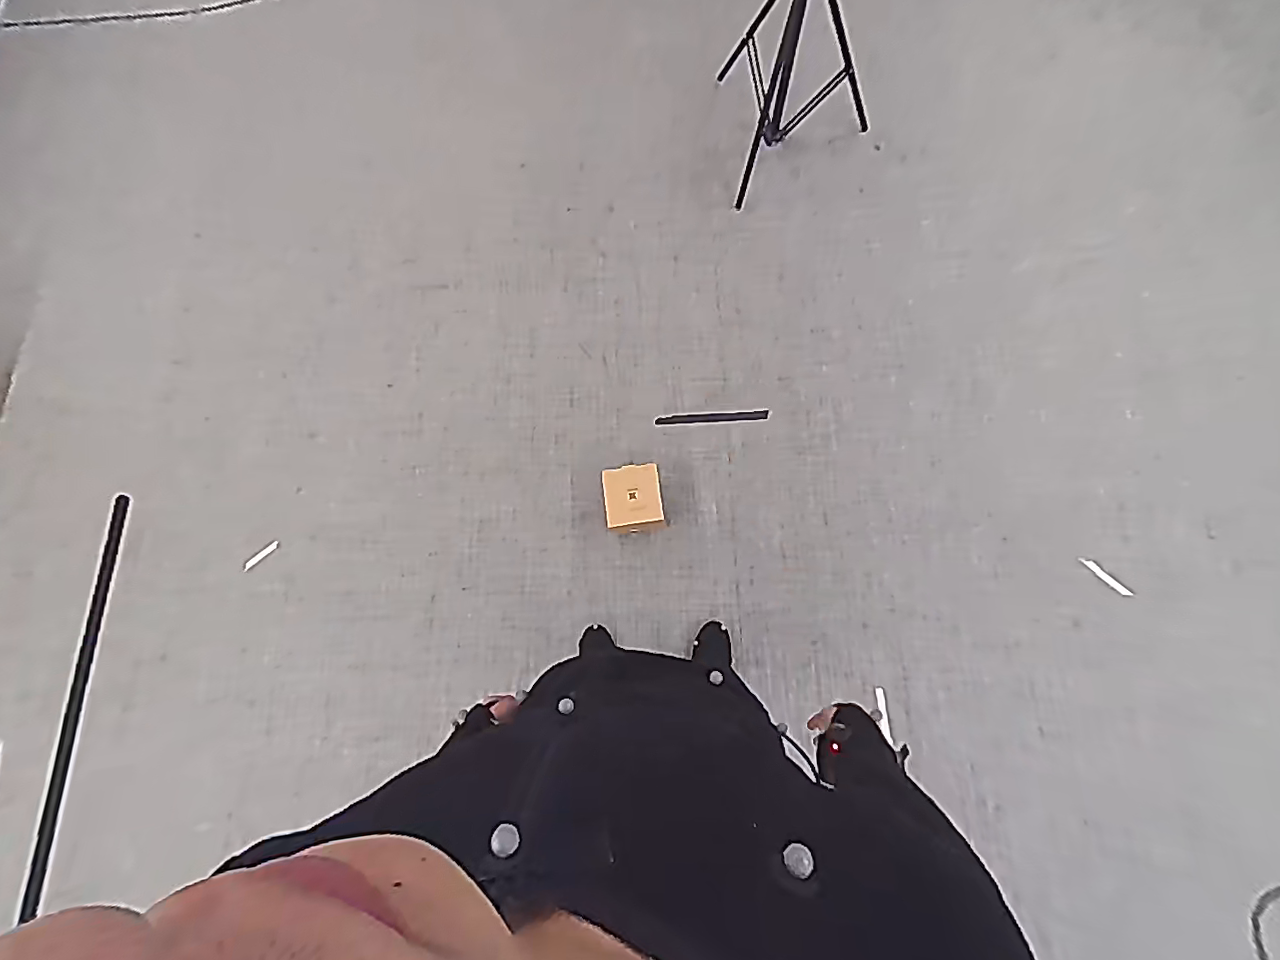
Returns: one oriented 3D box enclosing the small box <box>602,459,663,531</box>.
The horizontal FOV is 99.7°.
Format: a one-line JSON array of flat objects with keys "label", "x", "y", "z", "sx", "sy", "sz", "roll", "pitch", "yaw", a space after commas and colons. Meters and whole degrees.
[{"label": "small box", "x": -0.021, "y": 0.050, "z": 1.651, "sx": 0.168, "sy": 0.176, "sz": 0.179, "roll": -8, "pitch": 76, "yaw": 2}]
